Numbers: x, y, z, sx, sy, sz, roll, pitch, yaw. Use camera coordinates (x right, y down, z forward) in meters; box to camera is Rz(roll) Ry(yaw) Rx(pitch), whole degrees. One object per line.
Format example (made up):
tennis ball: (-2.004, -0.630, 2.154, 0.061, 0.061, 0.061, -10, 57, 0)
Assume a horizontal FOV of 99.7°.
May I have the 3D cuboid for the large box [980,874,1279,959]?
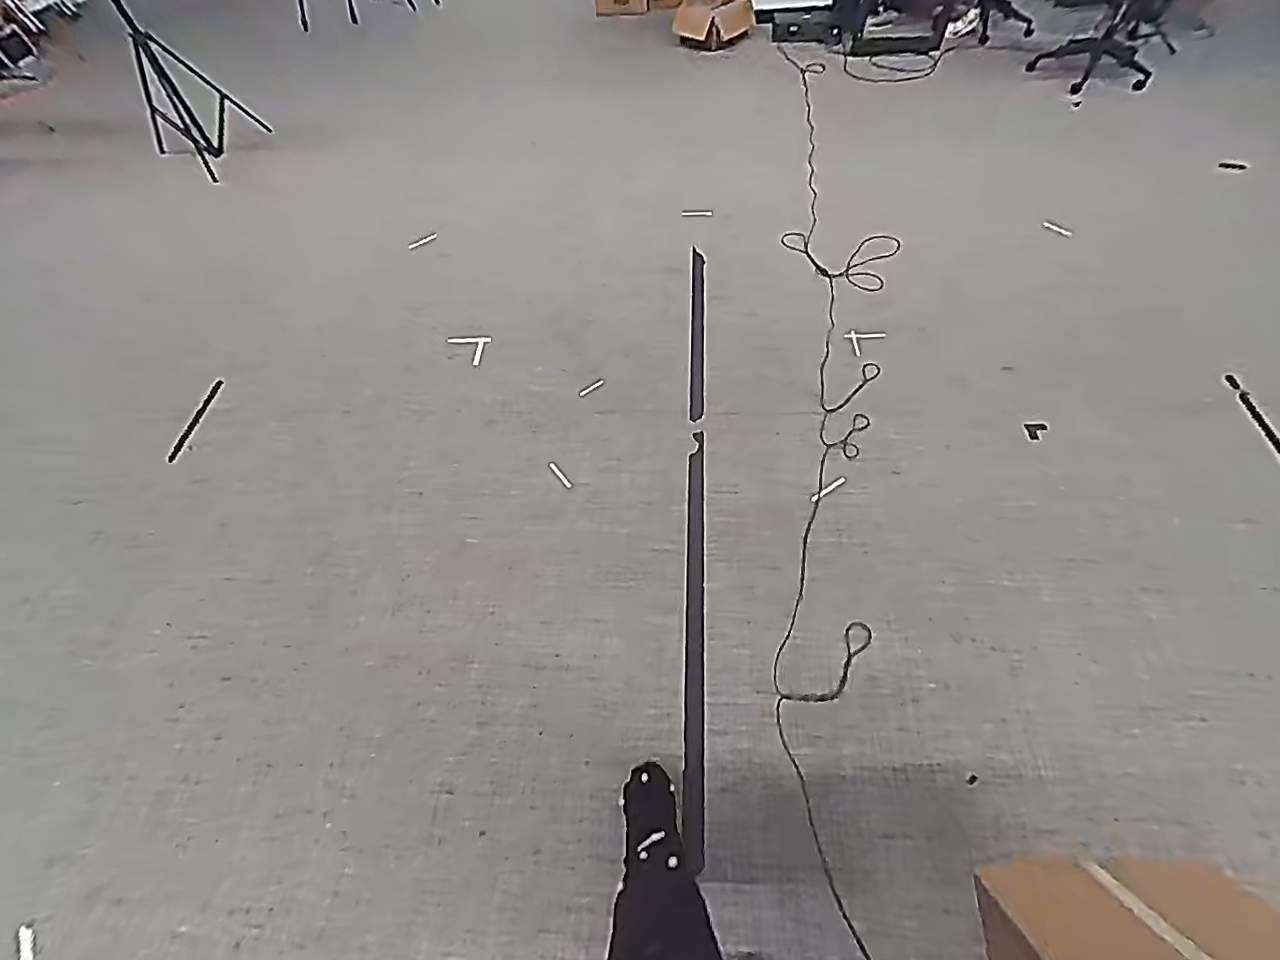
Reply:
large box: (0.637, 0.699, 0.570, 0.320, 0.408, 0.320, -7, 81, 8)
